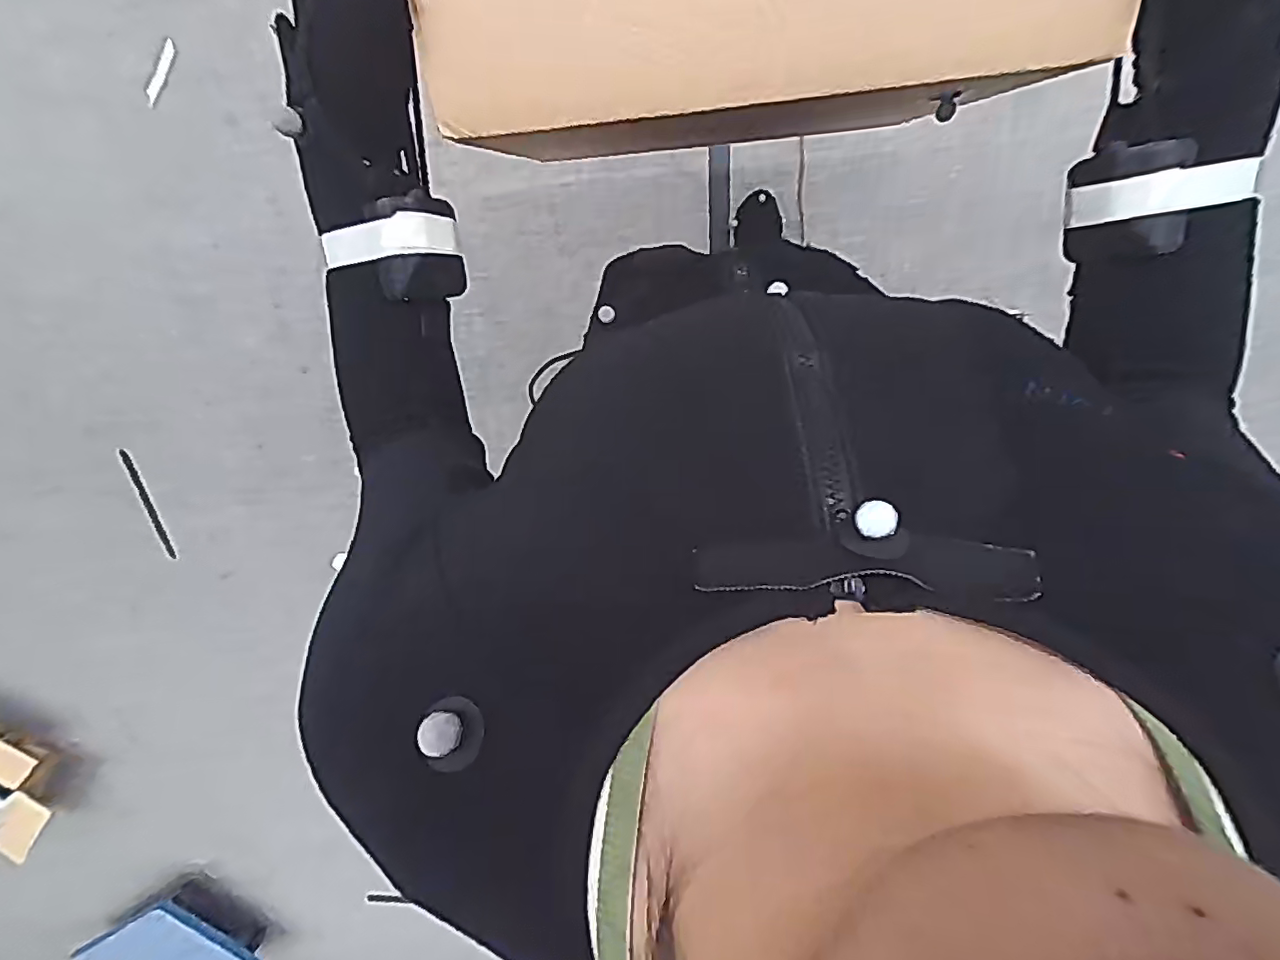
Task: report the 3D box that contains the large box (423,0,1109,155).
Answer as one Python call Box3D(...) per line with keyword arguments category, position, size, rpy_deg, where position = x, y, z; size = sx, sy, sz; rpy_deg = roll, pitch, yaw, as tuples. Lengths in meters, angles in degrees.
Box3D(category="large box", position=(0.066, -0.442, 0.394), size=(0.408, 0.320, 0.320), rpy_deg=(-4, 118, 4))
